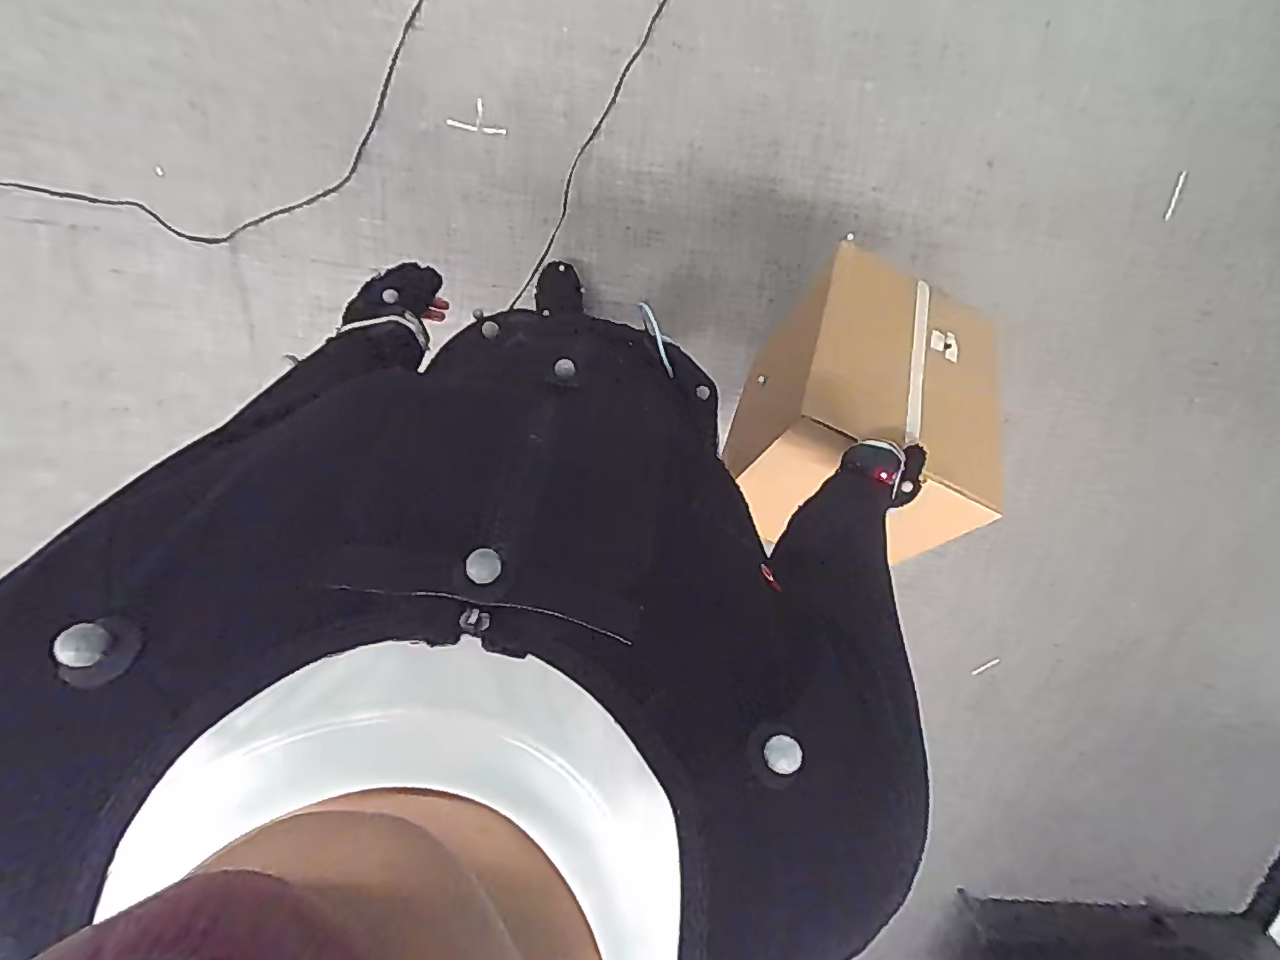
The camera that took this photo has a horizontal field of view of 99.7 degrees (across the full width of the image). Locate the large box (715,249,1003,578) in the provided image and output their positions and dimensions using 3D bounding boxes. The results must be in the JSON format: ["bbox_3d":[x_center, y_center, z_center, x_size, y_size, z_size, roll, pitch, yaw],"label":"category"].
[{"bbox_3d":[0.364,-0.101,0.937,0.320,0.408,0.320,26,148,-6],"label":"large box"}]
